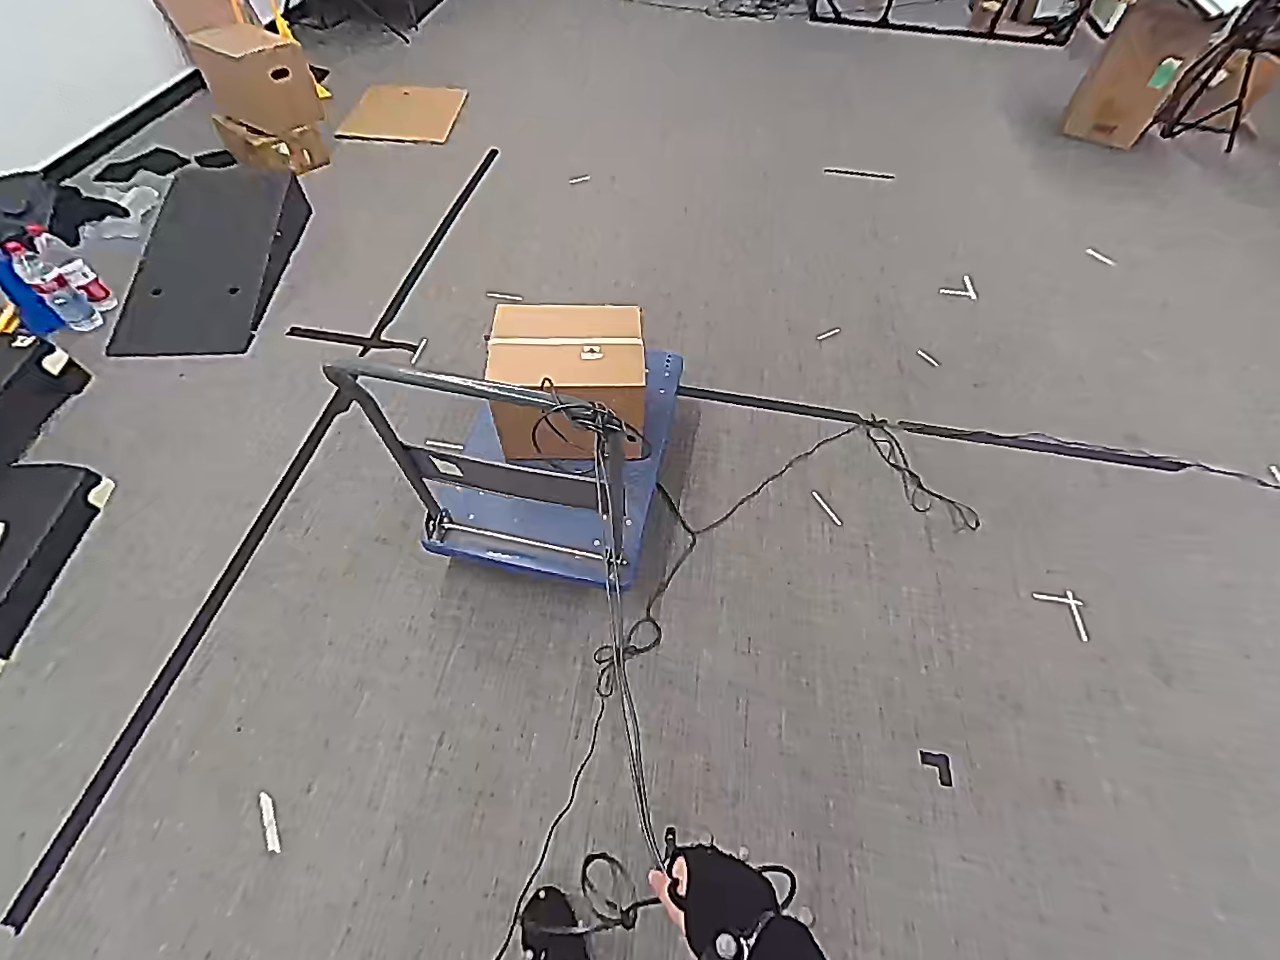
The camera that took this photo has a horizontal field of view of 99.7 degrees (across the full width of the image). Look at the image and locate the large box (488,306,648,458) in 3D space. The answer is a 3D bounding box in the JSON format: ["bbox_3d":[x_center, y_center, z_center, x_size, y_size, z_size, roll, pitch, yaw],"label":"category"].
[{"bbox_3d":[-0.195,-0.273,1.542,0.408,0.320,0.320,0,57,-4],"label":"large box"}]
